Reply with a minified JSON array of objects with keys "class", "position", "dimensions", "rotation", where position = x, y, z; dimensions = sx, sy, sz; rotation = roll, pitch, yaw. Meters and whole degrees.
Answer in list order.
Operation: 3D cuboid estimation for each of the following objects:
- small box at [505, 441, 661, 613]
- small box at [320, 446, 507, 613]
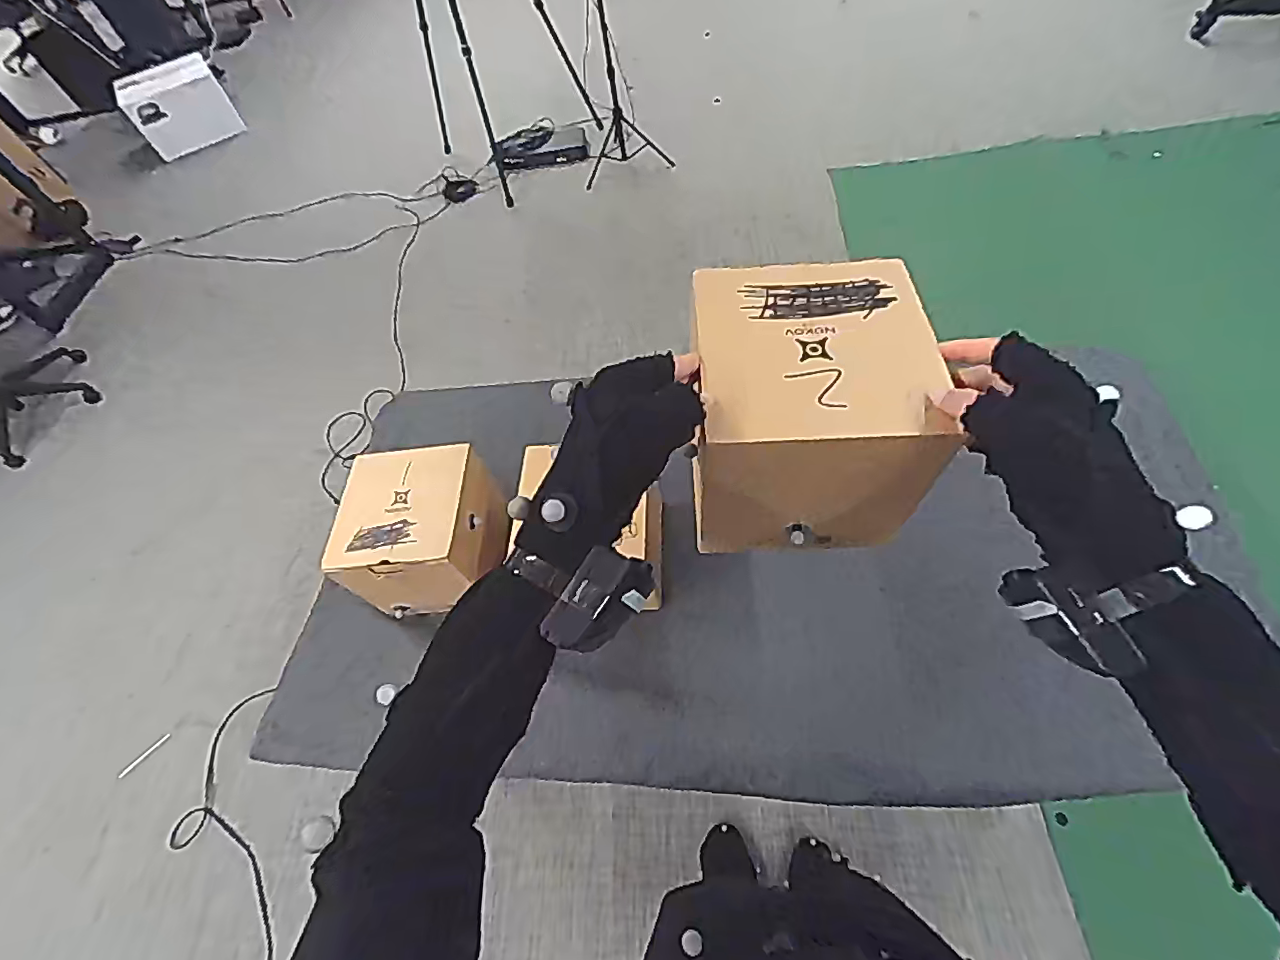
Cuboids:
[{"class":"small box","position":[-0.061,0.071,0.720],"dimensions":[0.168,0.176,0.179],"rotation":[-3,56,8]},{"class":"small box","position":[-0.296,0.078,0.752],"dimensions":[0.168,0.176,0.179],"rotation":[-6,56,6]}]
